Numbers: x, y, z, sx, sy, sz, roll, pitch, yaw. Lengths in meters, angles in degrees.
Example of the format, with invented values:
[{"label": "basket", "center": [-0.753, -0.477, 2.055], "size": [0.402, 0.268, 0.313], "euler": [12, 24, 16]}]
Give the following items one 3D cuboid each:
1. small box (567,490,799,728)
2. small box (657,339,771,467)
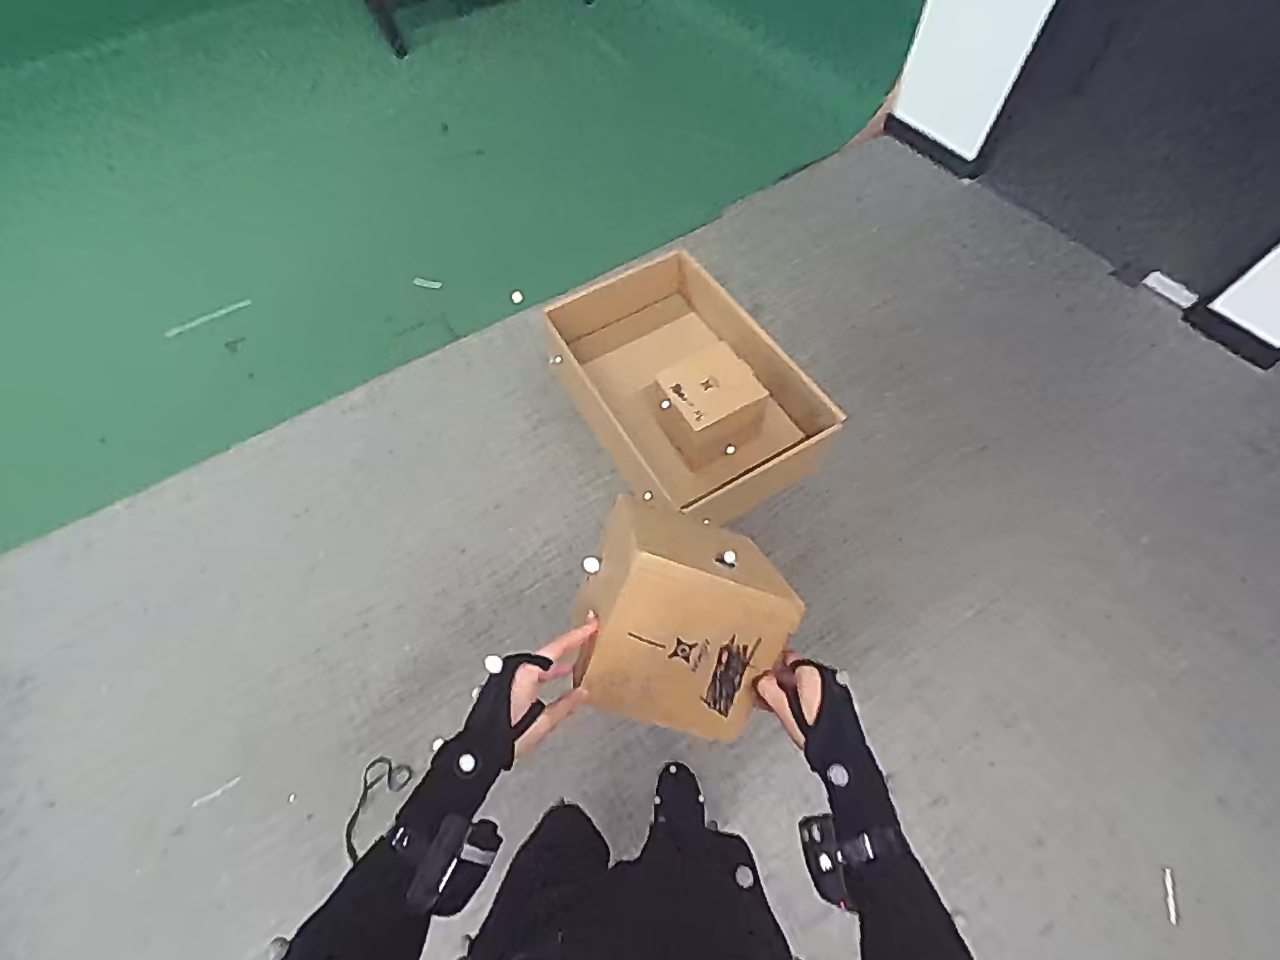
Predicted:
[{"label": "small box", "center": [0.031, 0.126, 0.582], "size": [0.179, 0.176, 0.168], "euler": [20, 102, -13]}, {"label": "small box", "center": [0.148, -0.160, 1.149], "size": [0.179, 0.176, 0.168], "euler": [-26, 62, -11]}]
